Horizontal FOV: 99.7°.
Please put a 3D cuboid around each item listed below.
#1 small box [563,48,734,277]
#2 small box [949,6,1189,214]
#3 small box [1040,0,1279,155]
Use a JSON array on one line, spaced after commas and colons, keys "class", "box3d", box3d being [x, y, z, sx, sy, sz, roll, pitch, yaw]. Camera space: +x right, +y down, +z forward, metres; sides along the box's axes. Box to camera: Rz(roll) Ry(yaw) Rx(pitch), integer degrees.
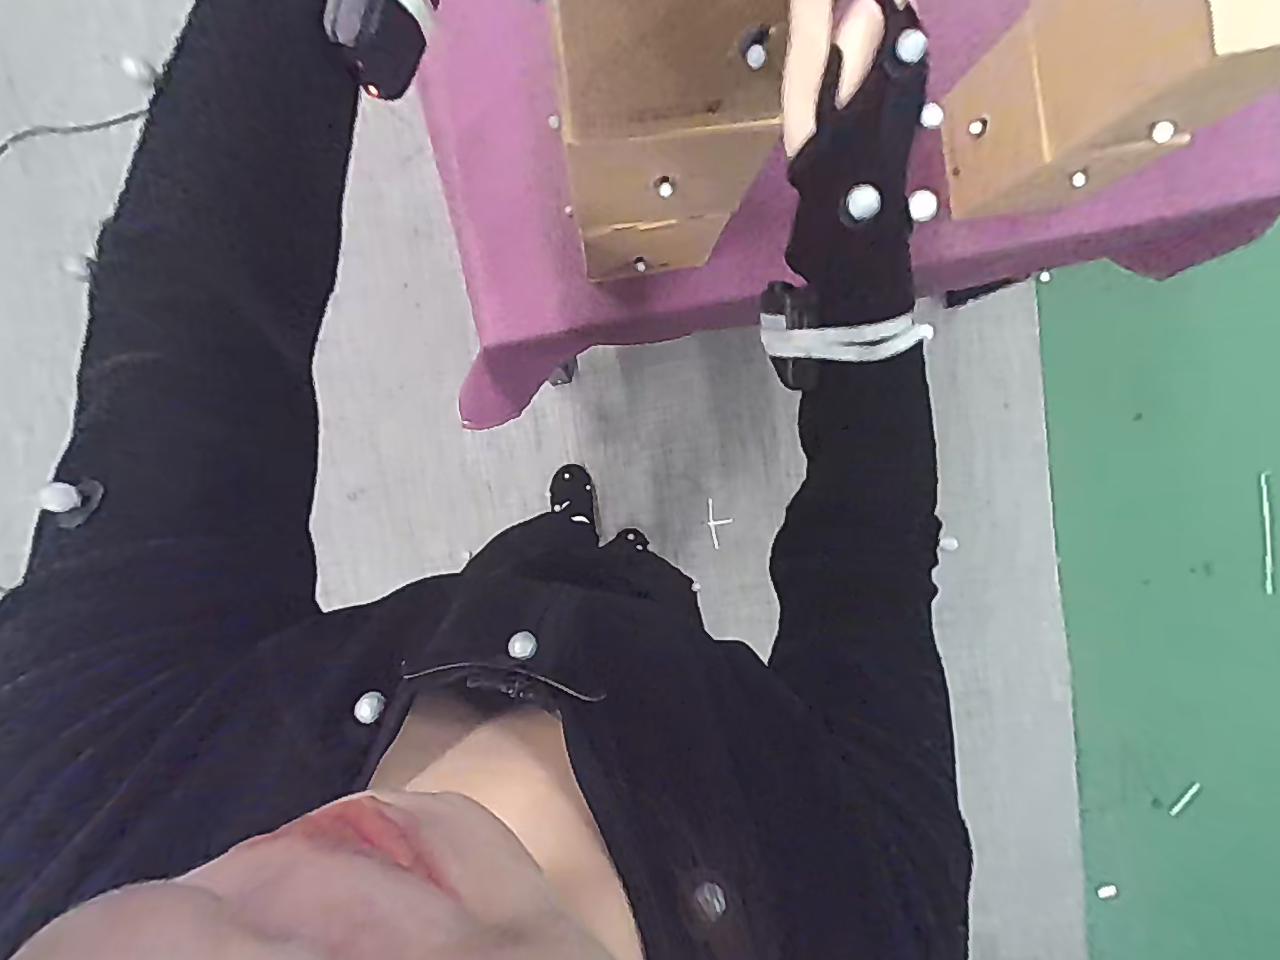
[{"class": "small box", "box3d": [0.004, -0.369, 0.658, 0.168, 0.176, 0.179, -10, 95, -3]}, {"class": "small box", "box3d": [0.517, -0.457, 0.680, 0.179, 0.176, 0.168, -10, 95, -3]}, {"class": "small box", "box3d": [0.525, -0.453, 0.516, 0.168, 0.176, 0.179, -12, 95, -2]}]
